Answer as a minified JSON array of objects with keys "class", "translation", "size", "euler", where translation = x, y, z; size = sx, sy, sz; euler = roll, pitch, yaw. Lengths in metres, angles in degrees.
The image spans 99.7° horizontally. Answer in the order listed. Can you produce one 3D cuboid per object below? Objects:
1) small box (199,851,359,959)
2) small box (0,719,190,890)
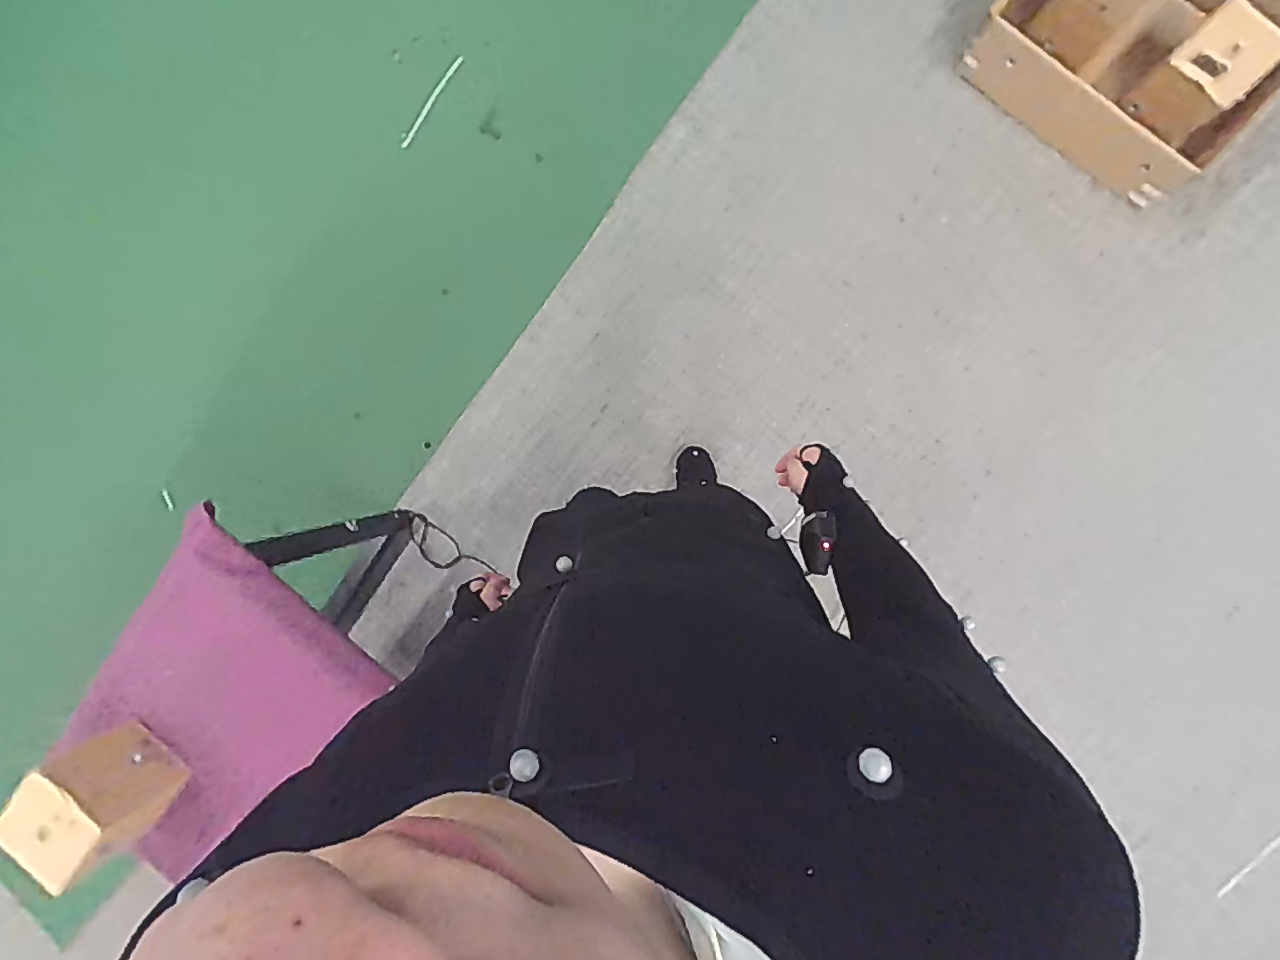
[{"class":"small box","translation":[-0.661,0.844,0.989],"size":[0.168,0.176,0.179],"euler":[39,98,4]},{"class":"small box","translation":[-1.010,0.596,1.013],"size":[0.168,0.176,0.179],"euler":[39,98,1]}]
